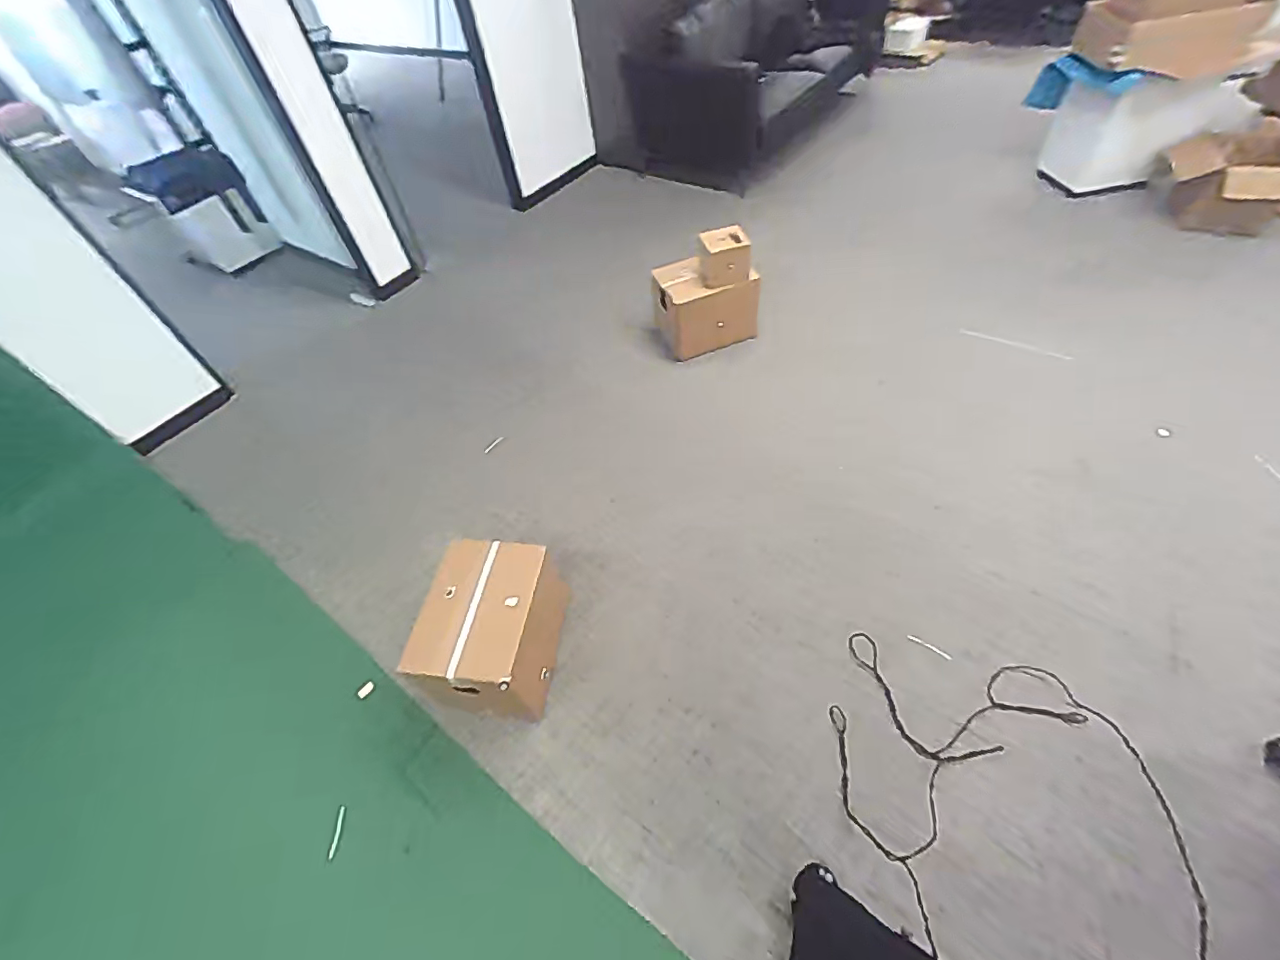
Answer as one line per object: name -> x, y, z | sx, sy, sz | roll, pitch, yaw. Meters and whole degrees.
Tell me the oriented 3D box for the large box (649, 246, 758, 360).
large box -> 0.294, -0.821, 2.507 | 0.408, 0.320, 0.320 | -22, 51, -8
